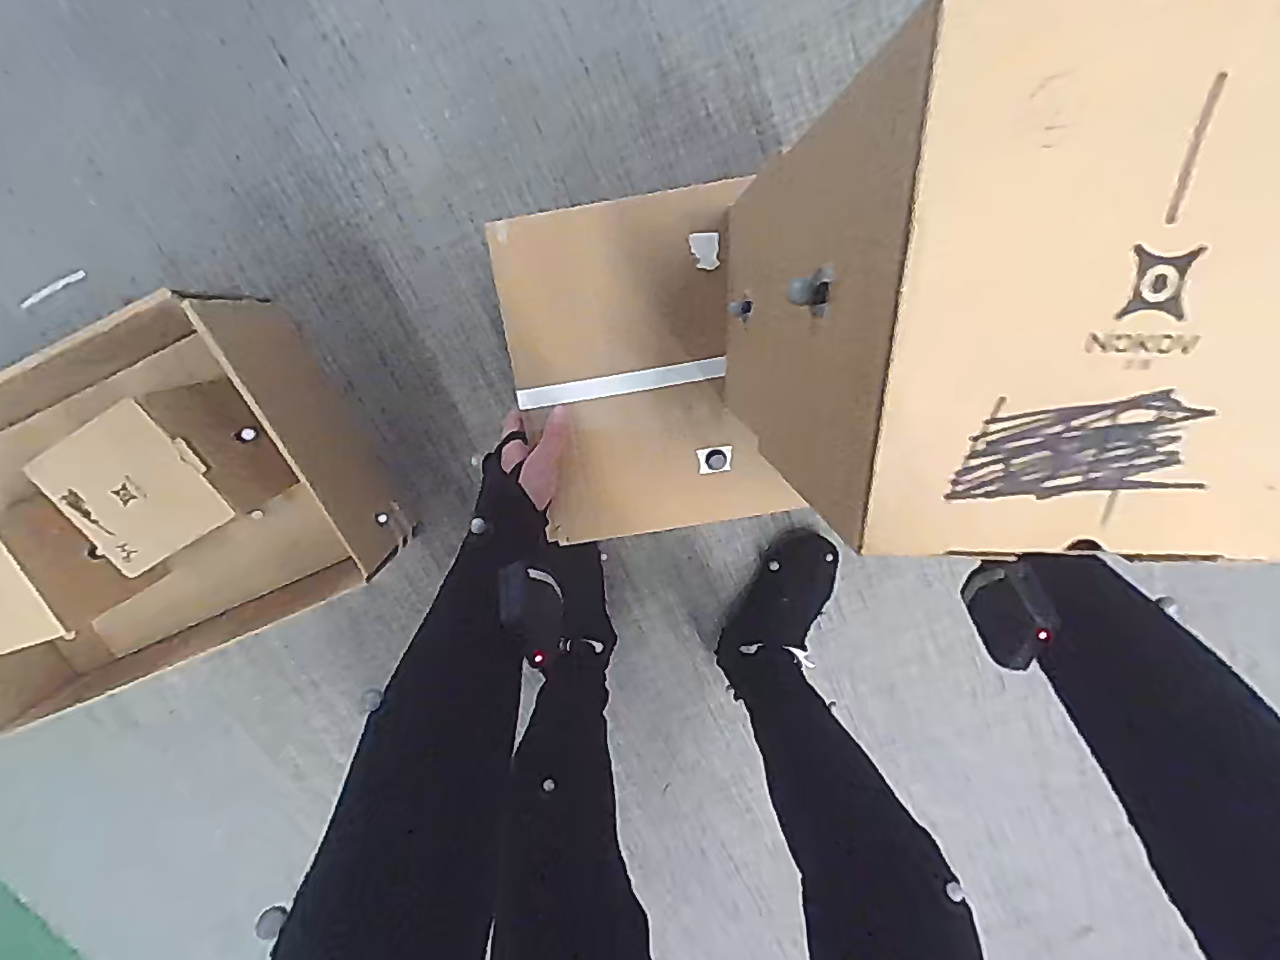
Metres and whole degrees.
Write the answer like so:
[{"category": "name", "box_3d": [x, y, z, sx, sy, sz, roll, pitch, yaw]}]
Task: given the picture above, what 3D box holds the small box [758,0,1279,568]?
[{"category": "small box", "box_3d": [0.154, -0.077, 0.241, 0.168, 0.176, 0.179, 1, 106, -1]}]
